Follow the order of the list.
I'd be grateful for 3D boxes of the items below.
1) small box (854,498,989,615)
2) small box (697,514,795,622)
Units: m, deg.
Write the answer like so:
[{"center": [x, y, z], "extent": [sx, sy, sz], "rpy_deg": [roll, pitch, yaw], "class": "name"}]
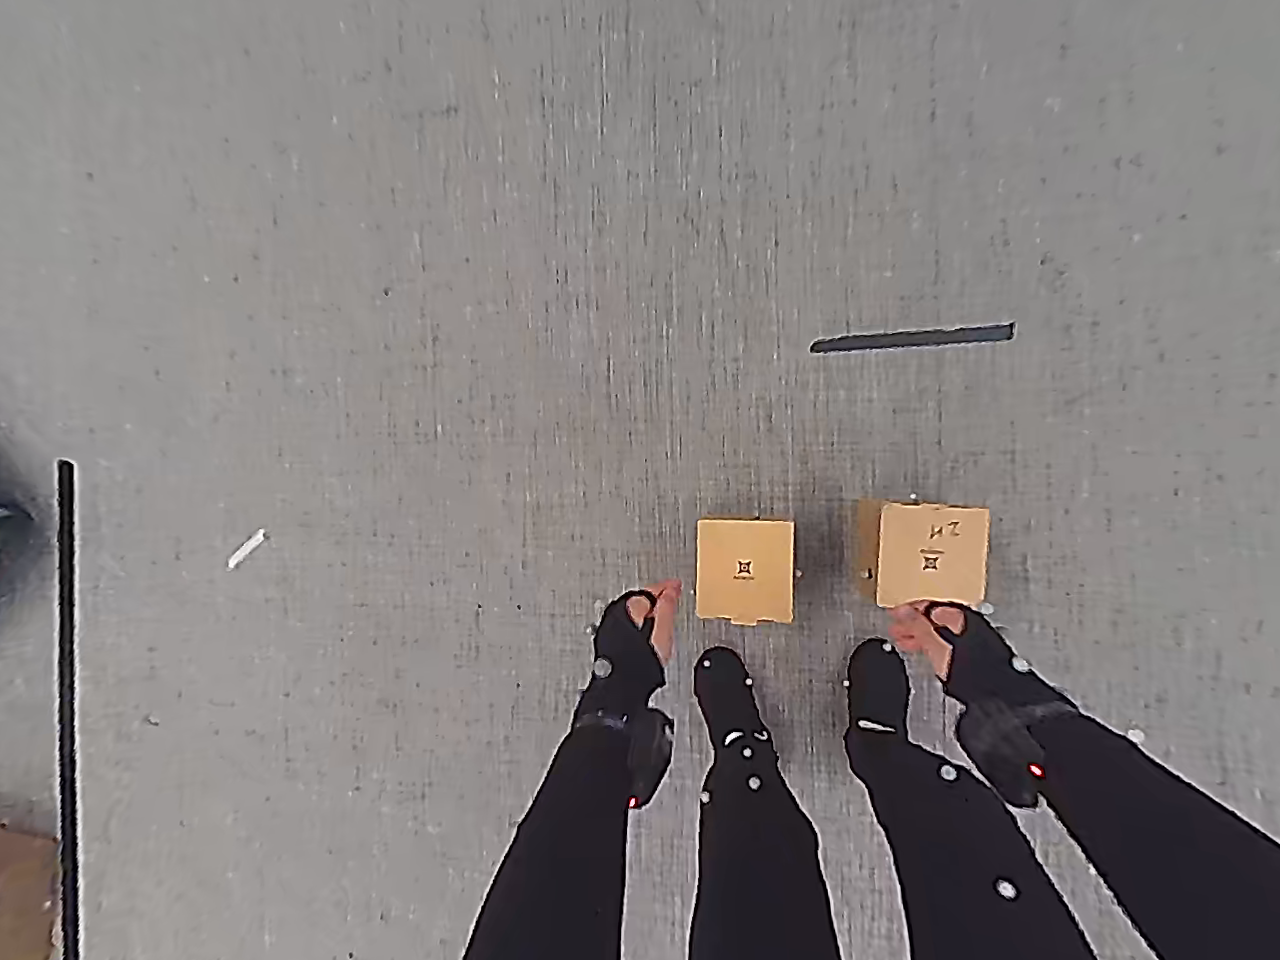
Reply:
[{"center": [0.486, 0.126, 0.956], "extent": [0.168, 0.176, 0.179], "rpy_deg": [3, 90, 9], "class": "small box"}, {"center": [0.192, 0.154, 1.007], "extent": [0.168, 0.176, 0.179], "rpy_deg": [0, 90, 10], "class": "small box"}]
